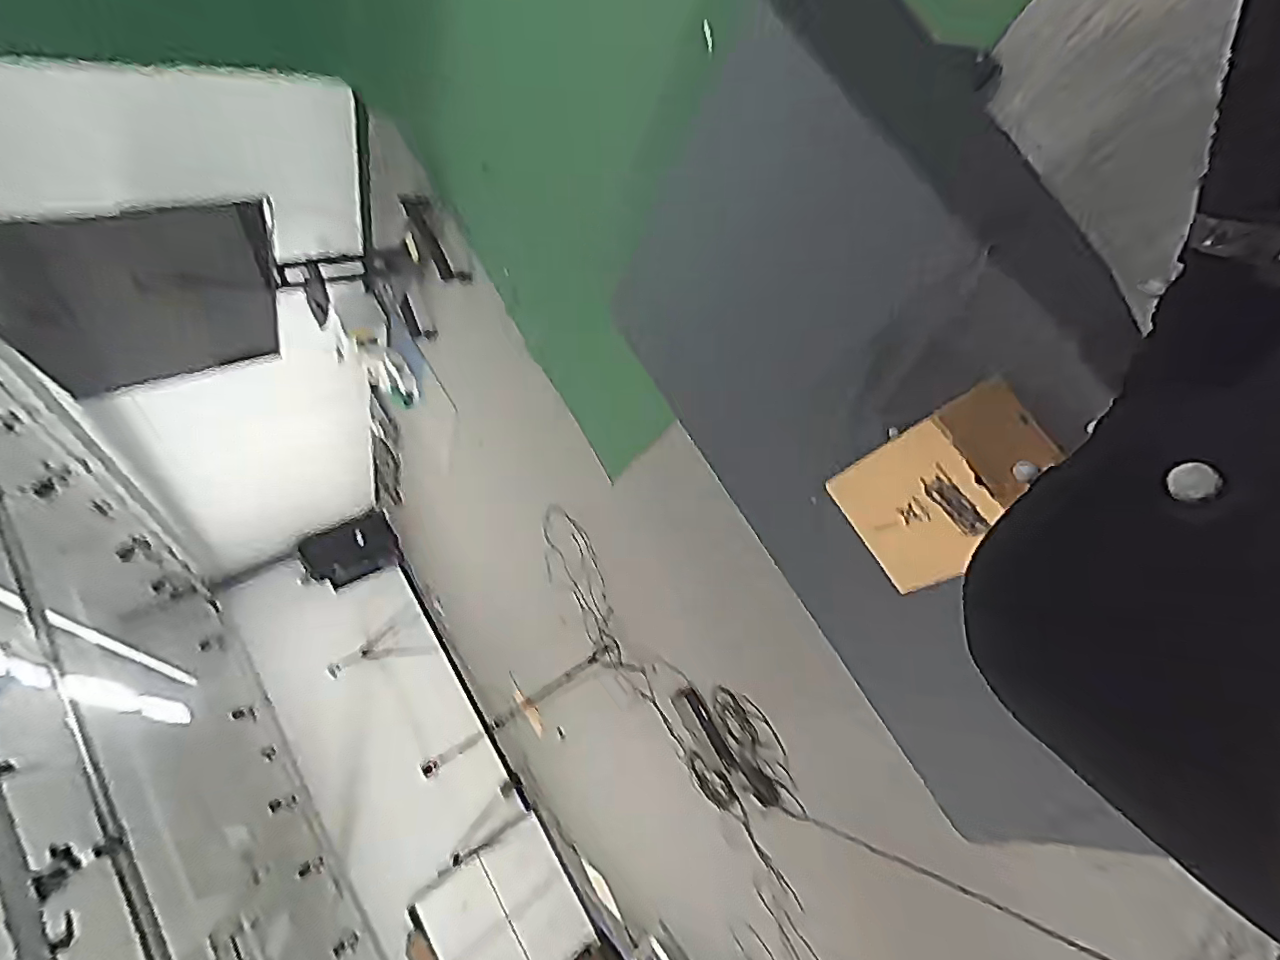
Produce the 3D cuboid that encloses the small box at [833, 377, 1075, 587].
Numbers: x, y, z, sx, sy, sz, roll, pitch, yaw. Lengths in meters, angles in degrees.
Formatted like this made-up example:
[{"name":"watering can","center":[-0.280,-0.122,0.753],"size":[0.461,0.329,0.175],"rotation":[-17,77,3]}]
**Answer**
[{"name":"small box","center":[0.386,-0.001,0.664],"size":[0.168,0.176,0.179],"rotation":[56,146,14]}]
